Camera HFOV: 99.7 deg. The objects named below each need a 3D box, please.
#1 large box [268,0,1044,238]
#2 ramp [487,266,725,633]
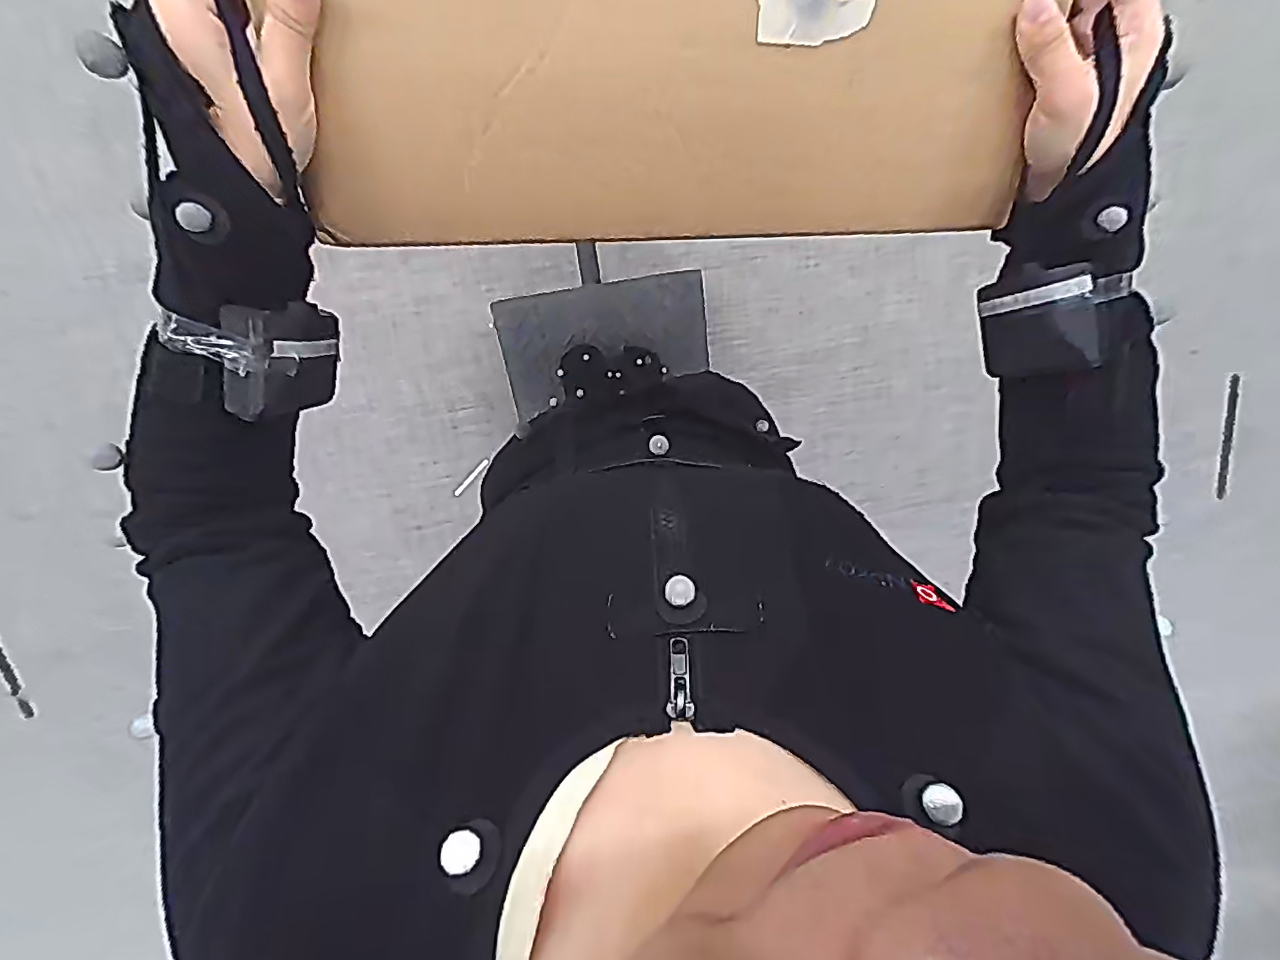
[{"bbox_3d":[0.001,-0.359,0.379,0.408,0.320,0.320,-4,120,-5],"label":"large box"},{"bbox_3d":[-0.040,-0.012,1.447,0.509,0.206,0.991,-11,107,-2],"label":"ramp"}]
